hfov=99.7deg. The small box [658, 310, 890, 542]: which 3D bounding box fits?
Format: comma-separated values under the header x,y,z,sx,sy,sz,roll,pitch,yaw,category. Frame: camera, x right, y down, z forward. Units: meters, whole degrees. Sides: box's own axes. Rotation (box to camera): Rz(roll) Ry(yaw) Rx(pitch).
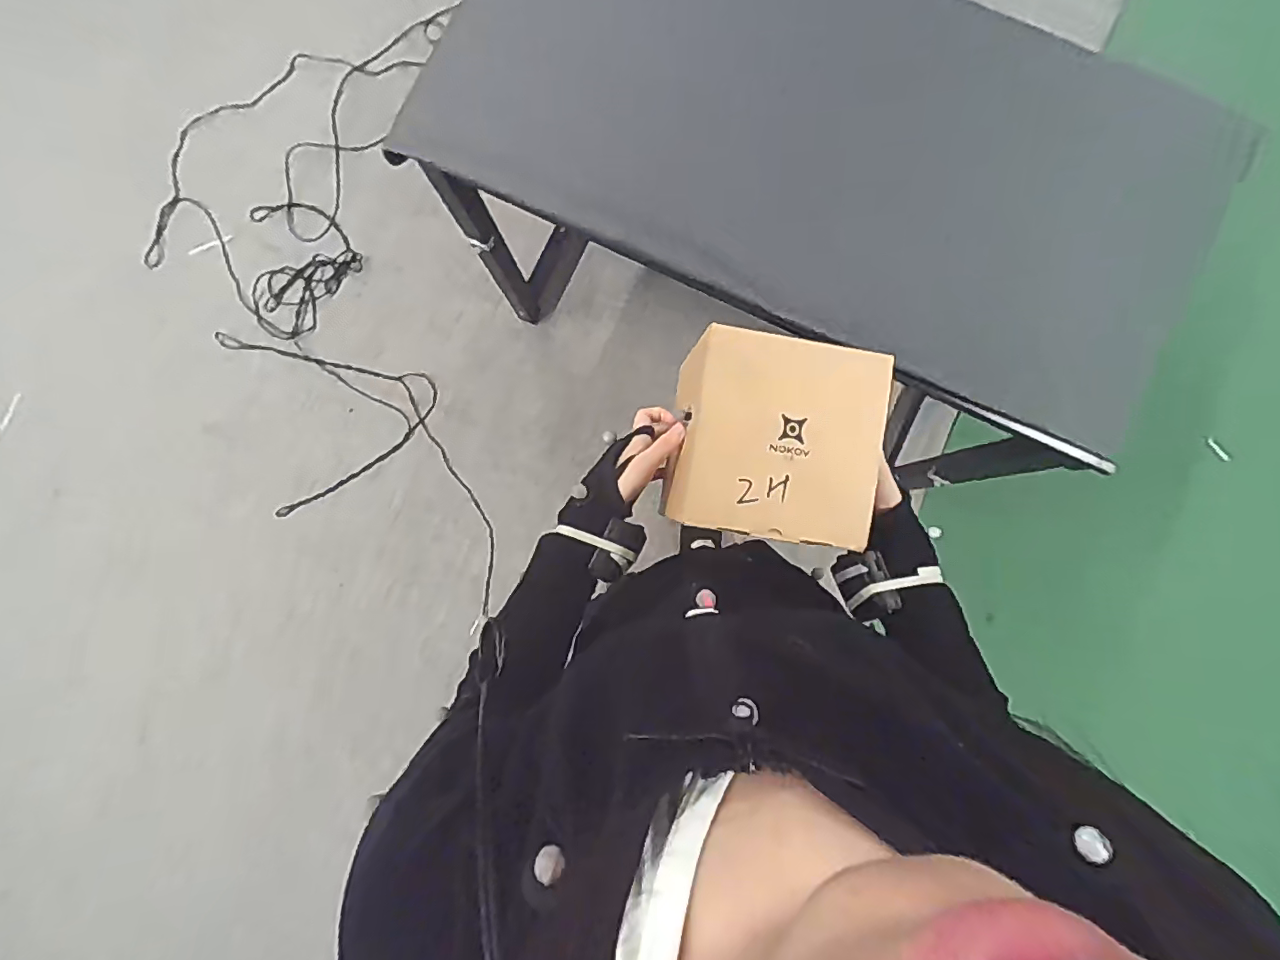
x,y,z,sx,sy,sz,roll,pitch,yaw,category
0.115,-0.043,0.533,0.168,0.176,0.179,9,89,-4,small box
